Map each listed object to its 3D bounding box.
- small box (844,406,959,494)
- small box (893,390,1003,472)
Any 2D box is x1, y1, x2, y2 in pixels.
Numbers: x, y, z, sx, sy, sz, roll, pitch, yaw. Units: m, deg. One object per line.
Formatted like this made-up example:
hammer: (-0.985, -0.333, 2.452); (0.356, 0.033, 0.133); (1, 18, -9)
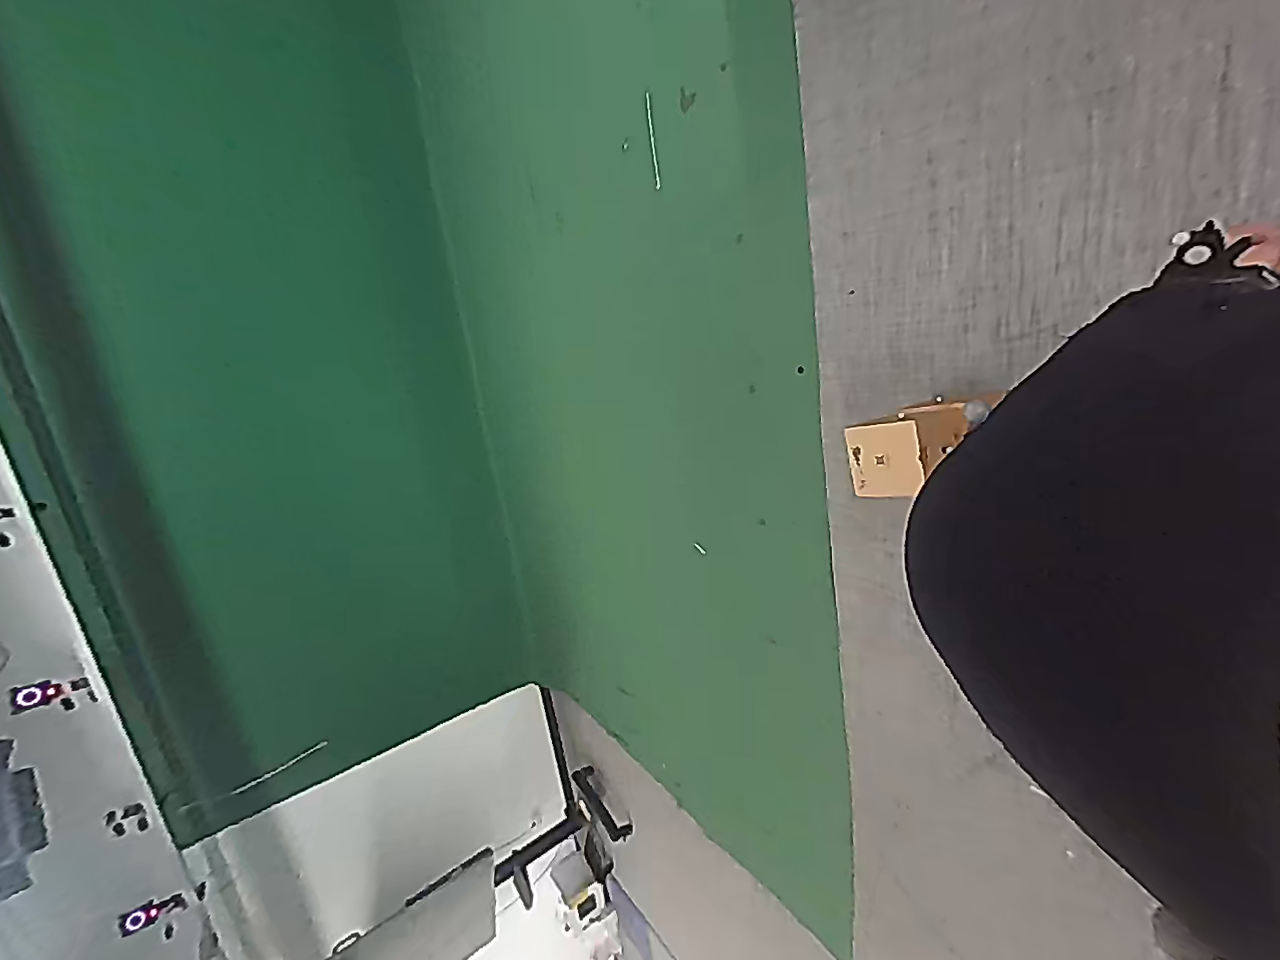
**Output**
small box: (0.599, -0.068, 1.230); (0.179, 0.176, 0.168); (-2, 101, 56)
small box: (0.743, -0.116, 1.297); (0.179, 0.176, 0.168); (0, 103, 58)
